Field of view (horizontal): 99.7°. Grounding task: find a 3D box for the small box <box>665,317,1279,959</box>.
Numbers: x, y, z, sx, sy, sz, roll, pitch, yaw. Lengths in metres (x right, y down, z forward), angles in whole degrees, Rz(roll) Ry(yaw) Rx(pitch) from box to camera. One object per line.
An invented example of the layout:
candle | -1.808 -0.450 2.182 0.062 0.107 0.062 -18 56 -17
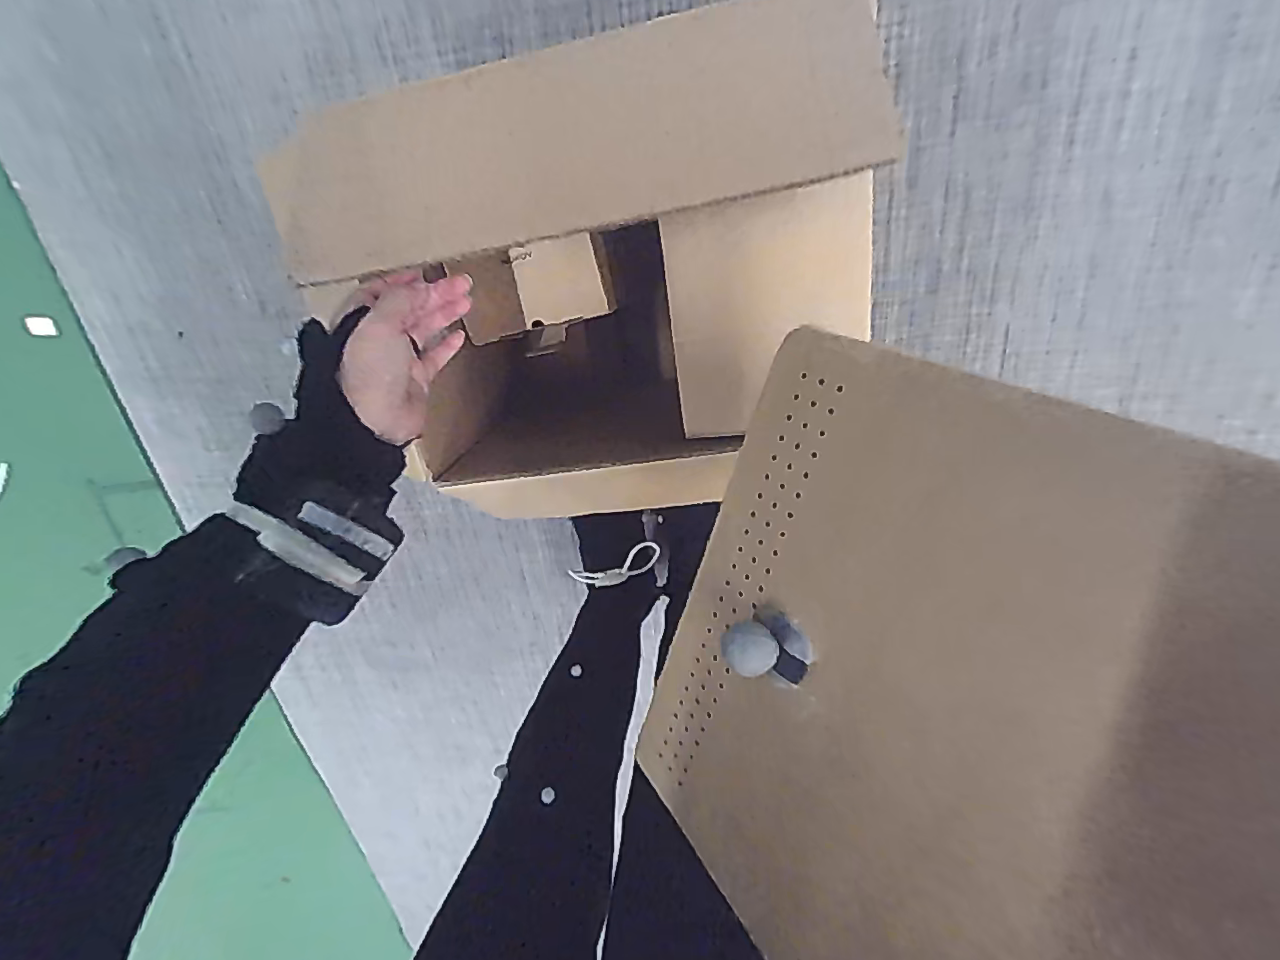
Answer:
small box | 0.130 0.063 0.182 0.168 0.176 0.179 2 115 -36
